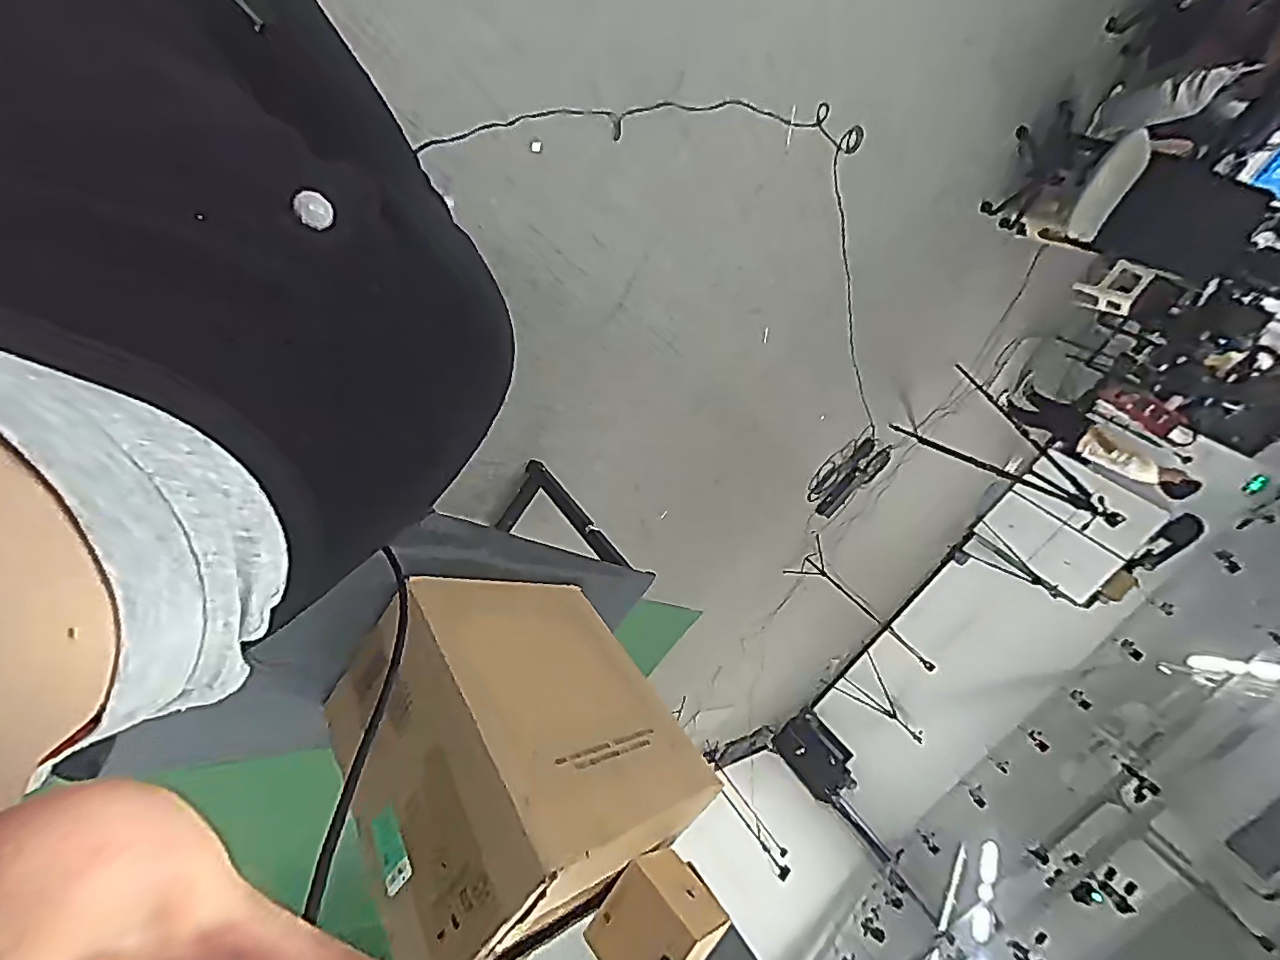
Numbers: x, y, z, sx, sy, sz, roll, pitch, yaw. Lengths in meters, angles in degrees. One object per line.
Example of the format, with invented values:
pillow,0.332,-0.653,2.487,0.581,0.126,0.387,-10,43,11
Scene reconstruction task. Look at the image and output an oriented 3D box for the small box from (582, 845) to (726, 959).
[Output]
small box,0.028,0.826,1.015,0.168,0.176,0.179,-55,144,-4
